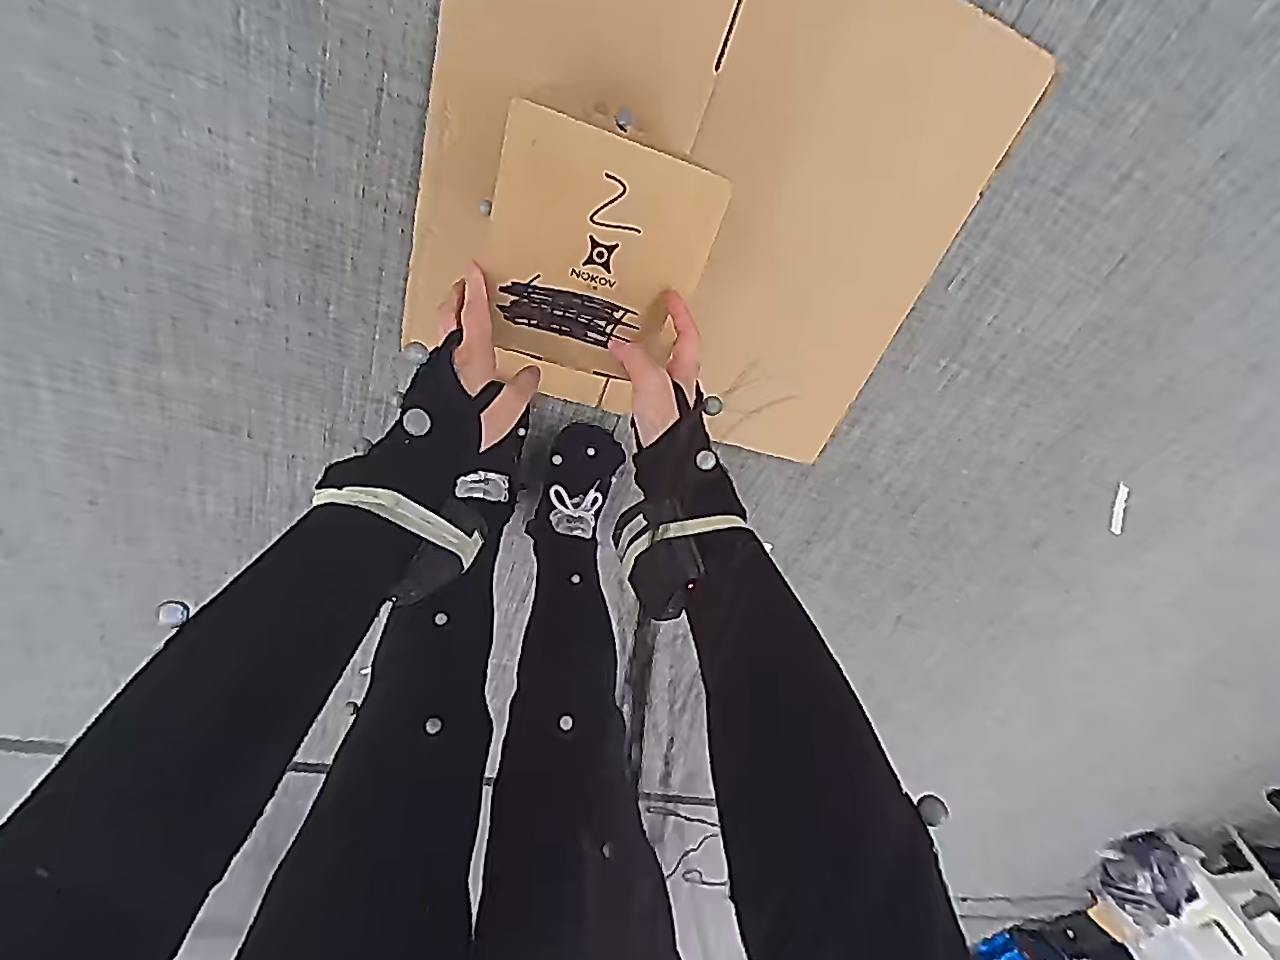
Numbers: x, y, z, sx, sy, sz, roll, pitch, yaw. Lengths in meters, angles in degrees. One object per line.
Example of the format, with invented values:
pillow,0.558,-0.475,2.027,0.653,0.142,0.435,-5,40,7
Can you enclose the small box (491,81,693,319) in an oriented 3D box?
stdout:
small box,-0.061,-0.315,0.611,0.168,0.176,0.179,13,122,-18
